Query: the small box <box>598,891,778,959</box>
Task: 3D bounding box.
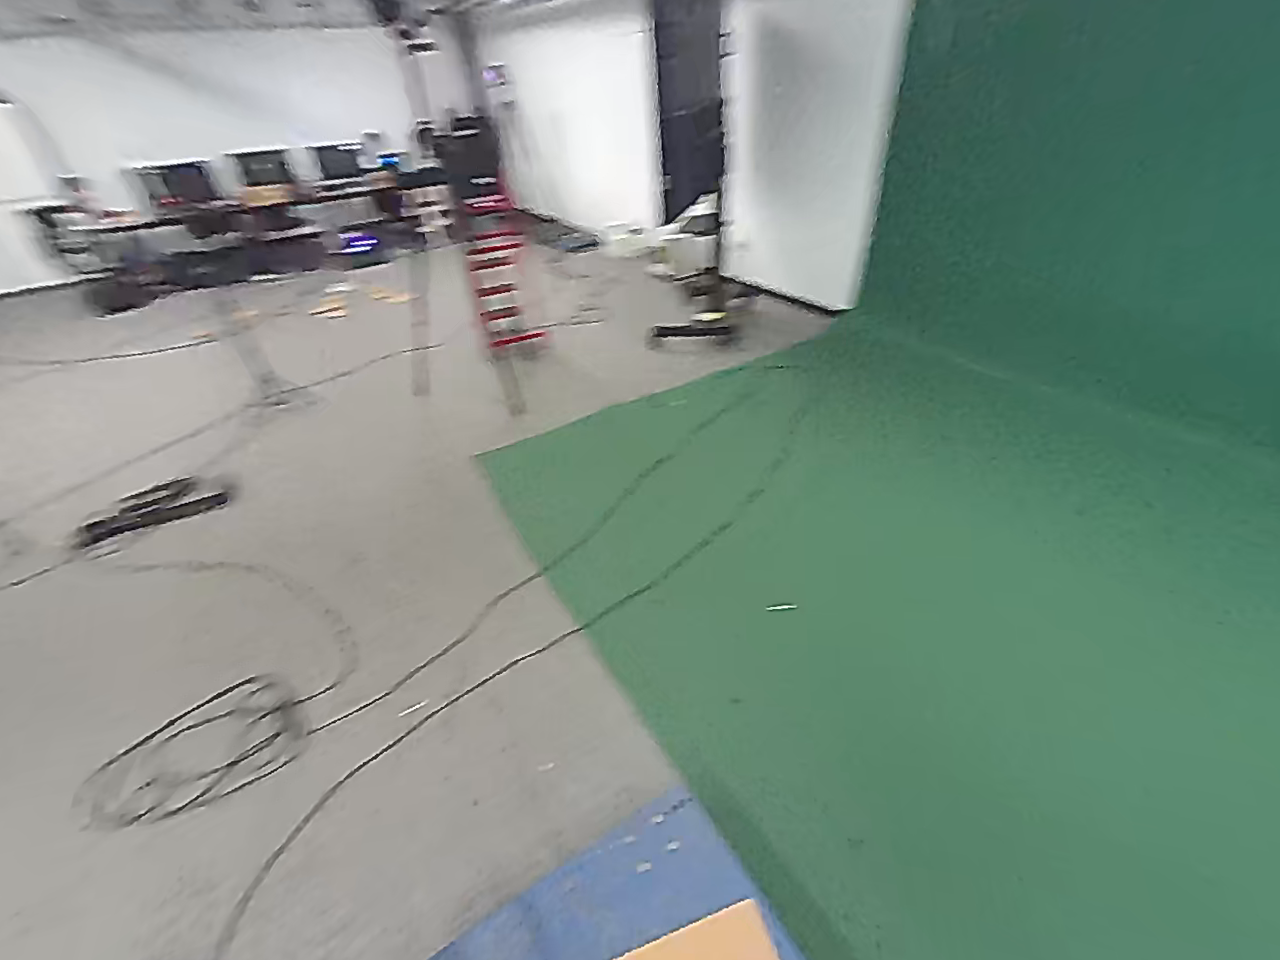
[{"bbox_3d":[0.071,0.570,0.541,0.179,0.176,0.168,-15,32,-10],"label":"small box"}]
